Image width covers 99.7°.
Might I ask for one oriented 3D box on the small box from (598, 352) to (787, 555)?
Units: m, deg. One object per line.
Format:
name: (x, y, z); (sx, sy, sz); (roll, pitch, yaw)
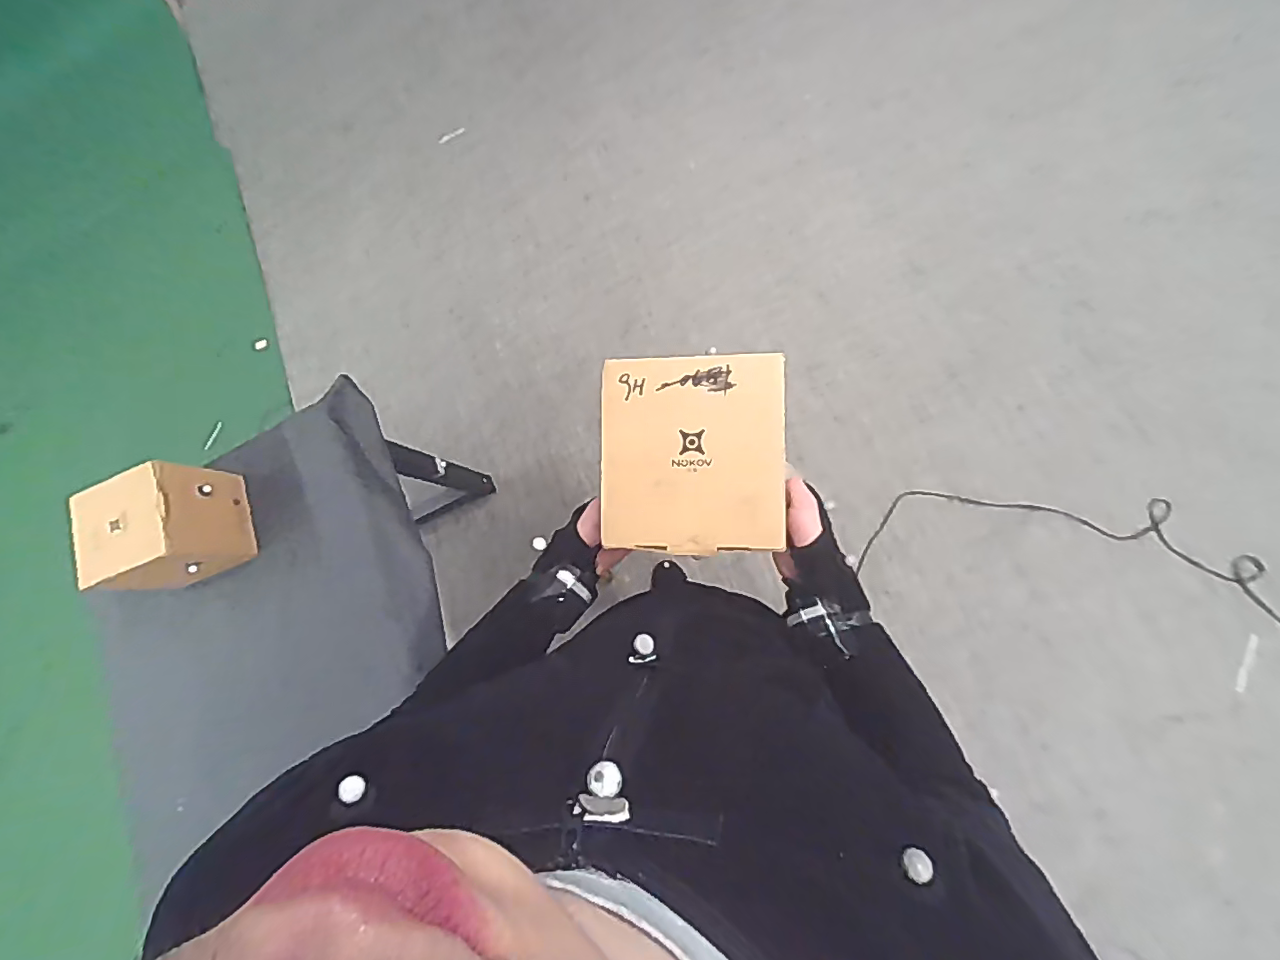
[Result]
small box: (0.058, -0.021, 0.551); (0.168, 0.176, 0.179); (0, 87, 9)

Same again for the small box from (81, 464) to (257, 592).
small box: (-0.816, 0.090, 0.954); (0.179, 0.176, 0.168); (-22, 75, 8)
